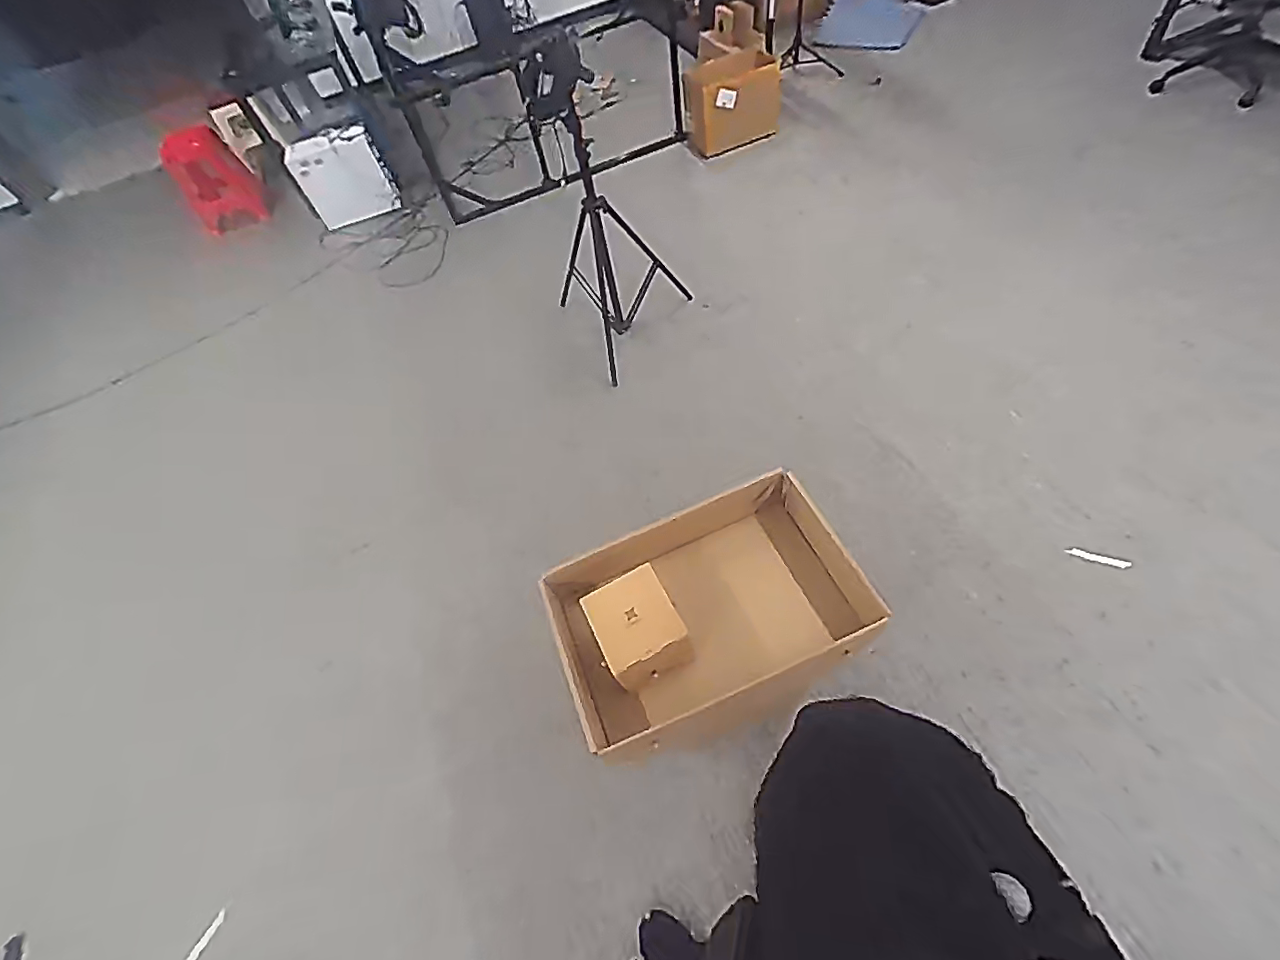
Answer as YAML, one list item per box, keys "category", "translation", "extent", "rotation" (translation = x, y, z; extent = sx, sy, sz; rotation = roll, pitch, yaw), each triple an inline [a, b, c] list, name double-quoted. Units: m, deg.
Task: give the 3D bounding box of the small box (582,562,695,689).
- category: "small box"
  translation: [0.001, 0.309, 1.134]
  extent: [0.168, 0.176, 0.179]
  rotation: [-28, 57, -7]
